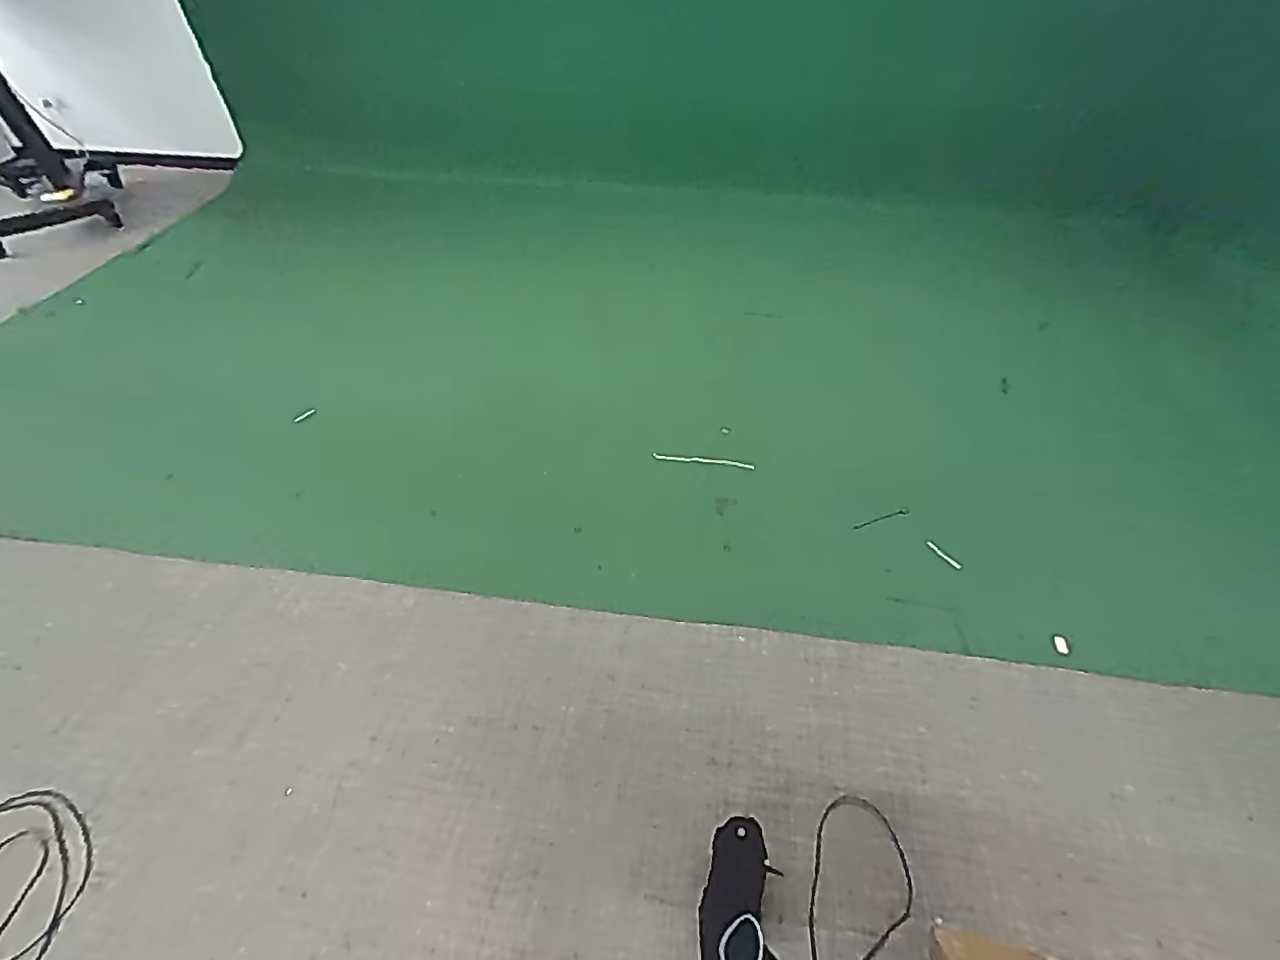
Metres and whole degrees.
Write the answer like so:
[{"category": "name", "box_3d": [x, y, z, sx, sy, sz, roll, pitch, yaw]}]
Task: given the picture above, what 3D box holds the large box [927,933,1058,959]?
[{"category": "large box", "box_3d": [0.521, 0.803, 0.554, 0.320, 0.408, 0.320, 11, 85, 7]}]
